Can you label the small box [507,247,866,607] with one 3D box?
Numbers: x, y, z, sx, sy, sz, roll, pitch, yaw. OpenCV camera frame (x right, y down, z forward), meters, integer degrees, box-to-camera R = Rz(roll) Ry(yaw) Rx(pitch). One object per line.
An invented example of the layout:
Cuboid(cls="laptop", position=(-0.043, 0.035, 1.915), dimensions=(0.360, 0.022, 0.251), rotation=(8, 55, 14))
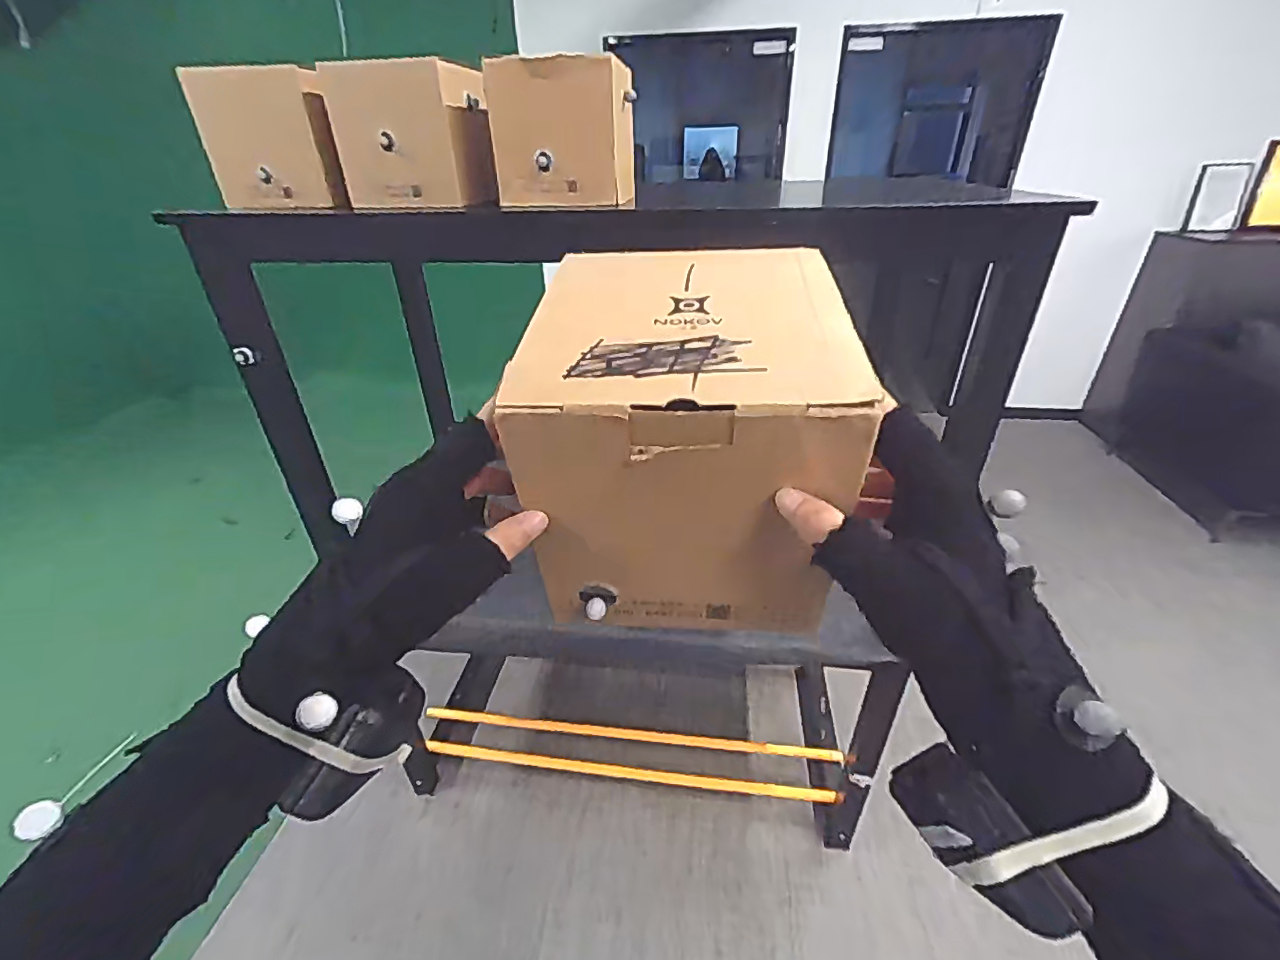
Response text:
Cuboid(cls="small box", position=(0.031, -0.035, 0.354), dimensions=(0.168, 0.176, 0.179), rotation=(1, 42, 6))
